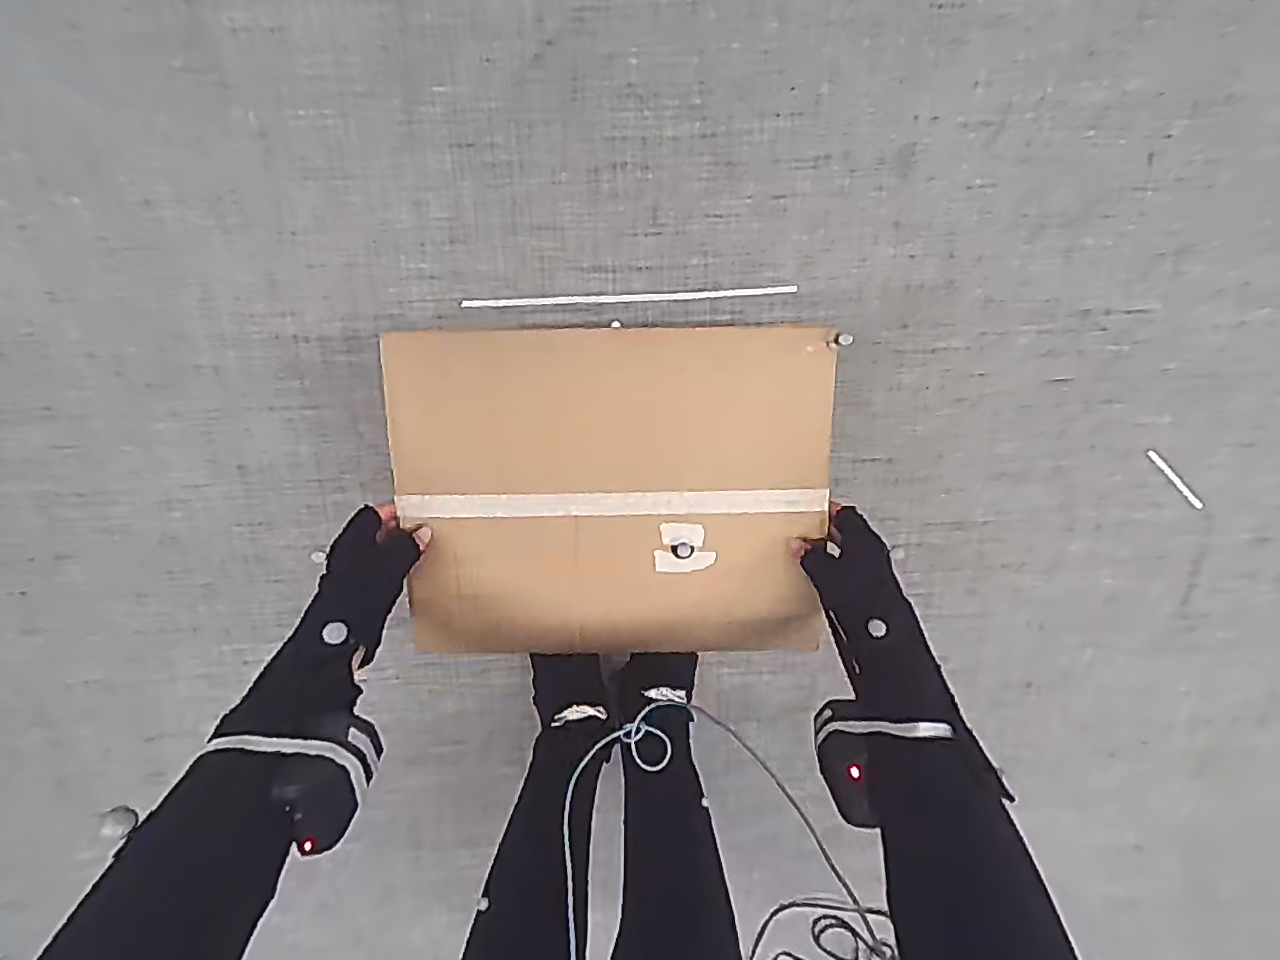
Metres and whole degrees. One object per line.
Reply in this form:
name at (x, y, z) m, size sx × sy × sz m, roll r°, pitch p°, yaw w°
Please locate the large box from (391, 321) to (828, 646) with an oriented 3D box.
large box at (-0.026, -0.018, 0.664) m, size 0.408 × 0.320 × 0.320 m, roll -1°, pitch 103°, yaw 0°
